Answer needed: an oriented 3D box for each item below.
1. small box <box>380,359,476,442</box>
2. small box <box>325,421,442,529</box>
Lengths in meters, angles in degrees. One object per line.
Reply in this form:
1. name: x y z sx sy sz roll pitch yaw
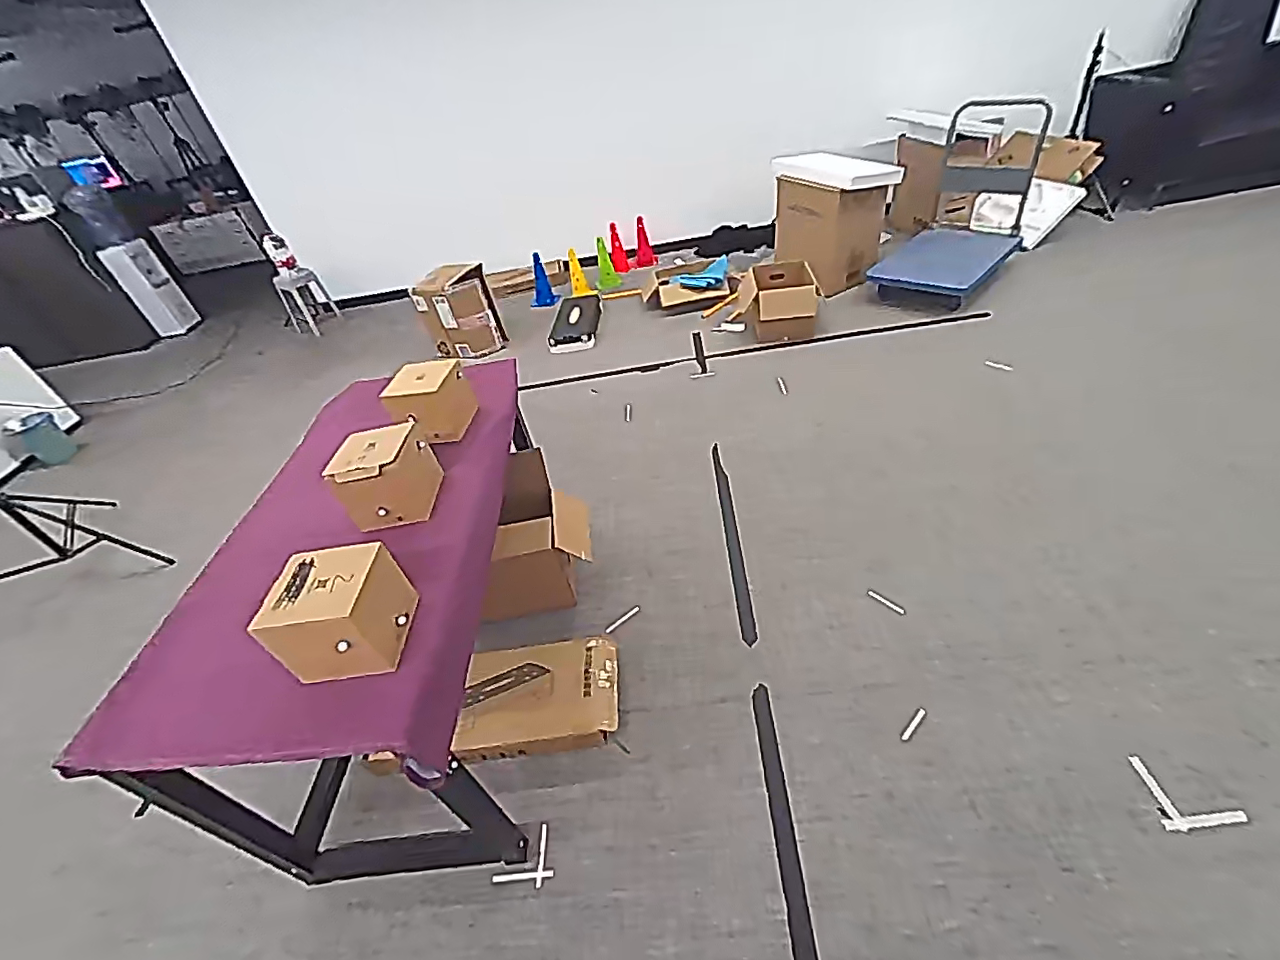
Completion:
1. small box: -0.582 -0.216 1.514 0.168 0.176 0.179 -5 40 9
2. small box: -0.589 -0.010 1.272 0.168 0.176 0.179 -11 40 5
